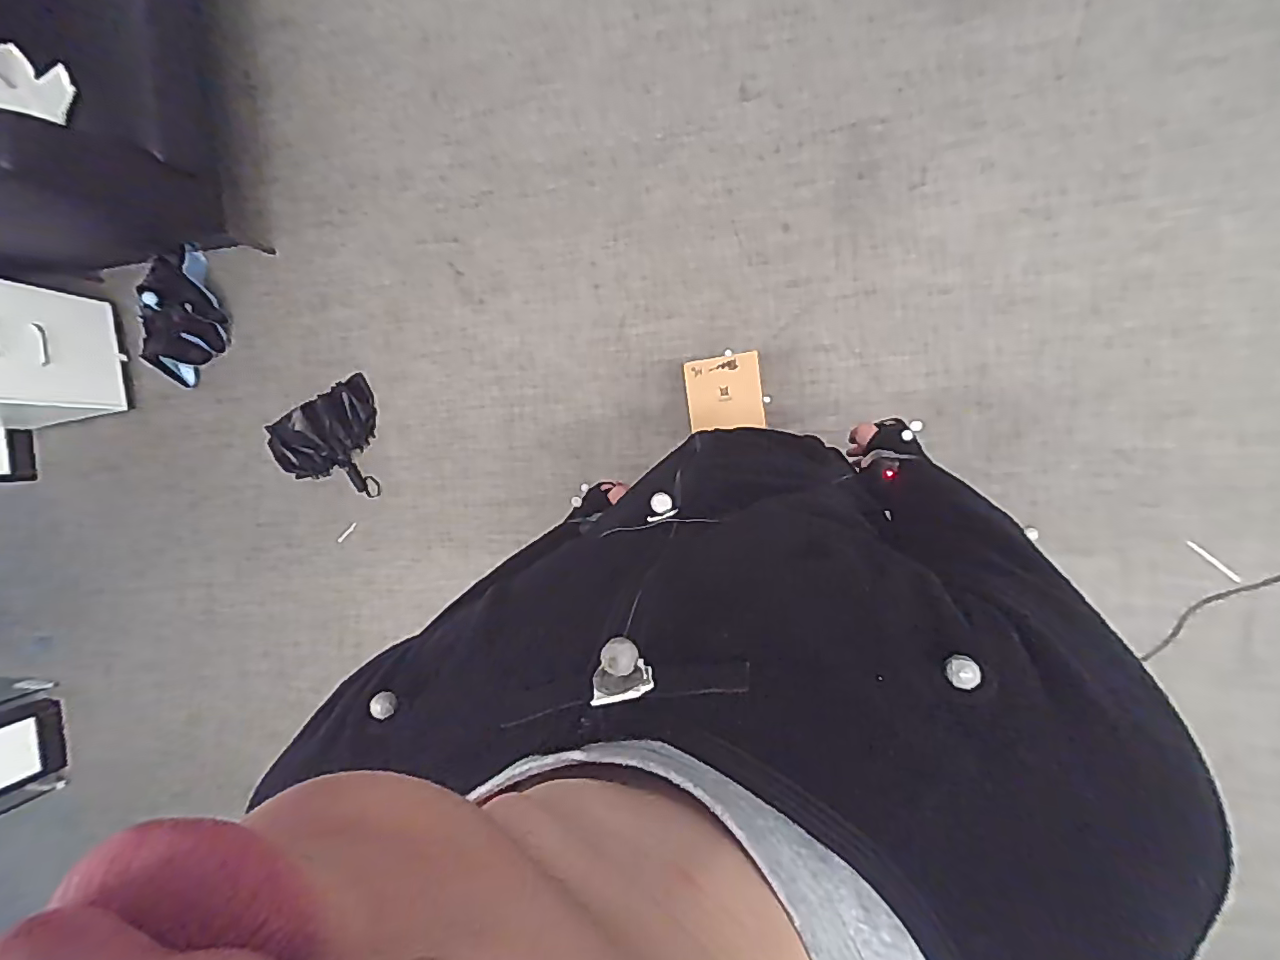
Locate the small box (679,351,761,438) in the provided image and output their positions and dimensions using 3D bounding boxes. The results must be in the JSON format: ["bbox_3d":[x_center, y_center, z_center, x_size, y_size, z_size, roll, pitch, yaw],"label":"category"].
[{"bbox_3d":[0.196,-0.197,1.285,0.168,0.176,0.179,-6,93,15],"label":"small box"}]
